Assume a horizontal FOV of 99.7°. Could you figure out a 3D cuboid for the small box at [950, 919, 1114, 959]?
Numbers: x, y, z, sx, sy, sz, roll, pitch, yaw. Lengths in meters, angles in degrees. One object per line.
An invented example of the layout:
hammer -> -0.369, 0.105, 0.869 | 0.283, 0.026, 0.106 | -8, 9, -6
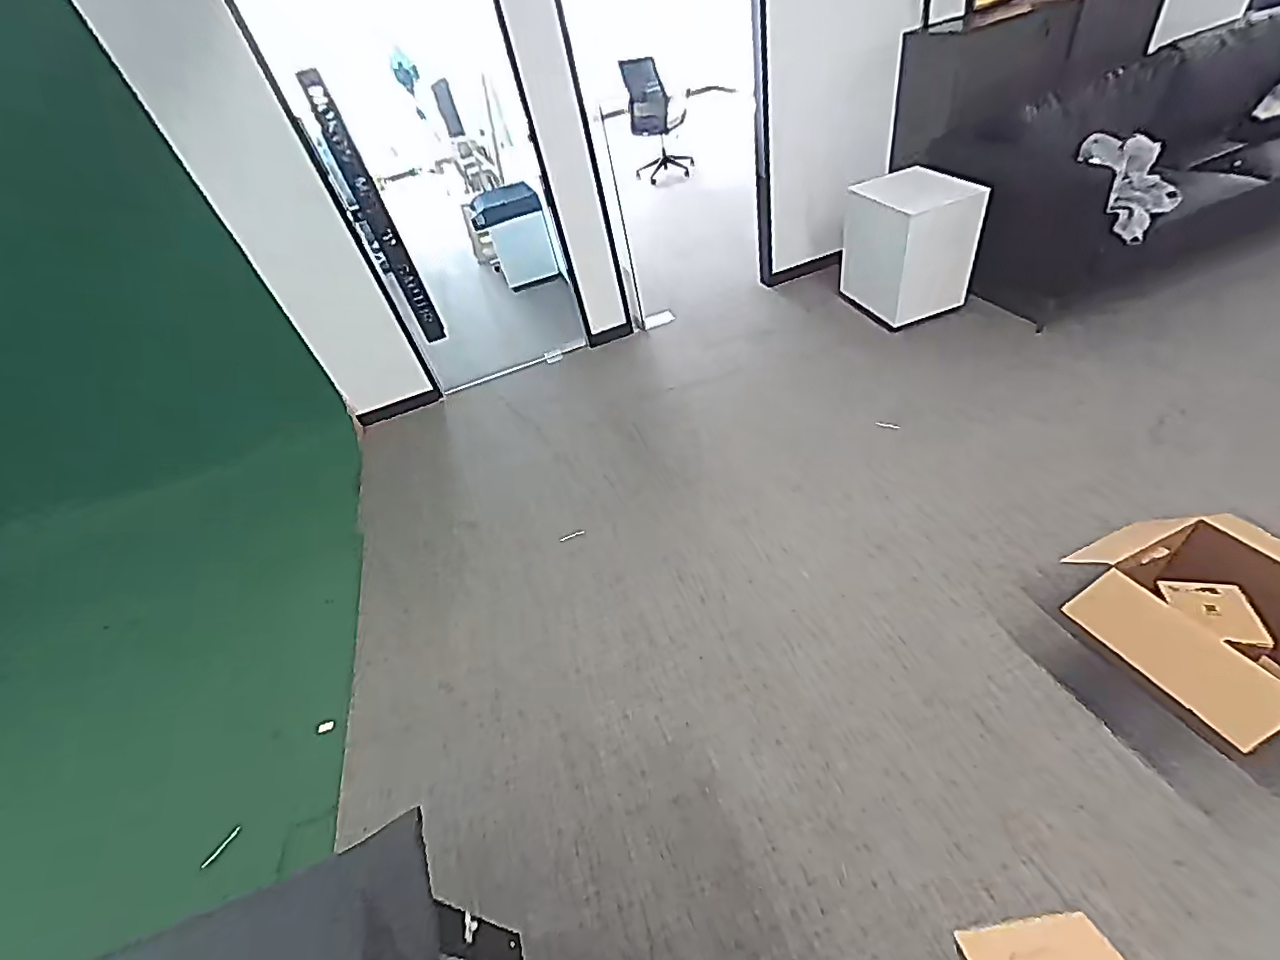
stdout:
small box -> 0.491, 0.658, 0.609 | 0.168, 0.176, 0.179 | -12, -2, 4
